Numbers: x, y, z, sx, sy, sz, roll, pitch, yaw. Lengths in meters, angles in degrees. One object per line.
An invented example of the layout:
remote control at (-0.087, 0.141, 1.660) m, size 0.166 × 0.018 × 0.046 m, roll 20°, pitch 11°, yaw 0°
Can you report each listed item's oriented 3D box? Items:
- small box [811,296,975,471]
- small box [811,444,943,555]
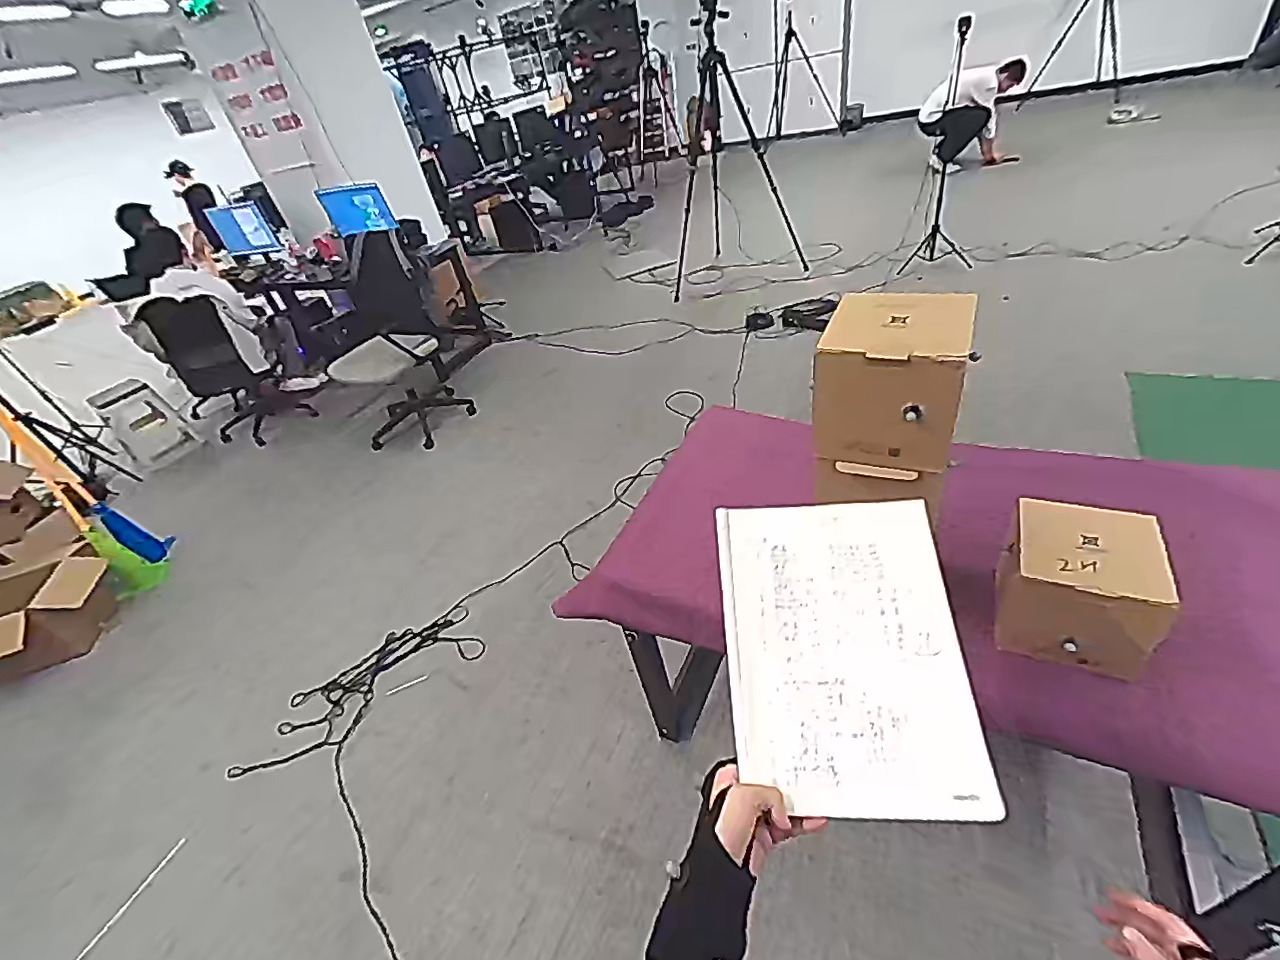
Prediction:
small box at (0.337, -0.133, 0.730) m, size 0.168 × 0.176 × 0.179 m, roll 12°, pitch 44°, yaw 28°
small box at (0.368, -0.011, 0.833) m, size 0.168 × 0.176 × 0.179 m, roll 11°, pitch 43°, yaw 28°
